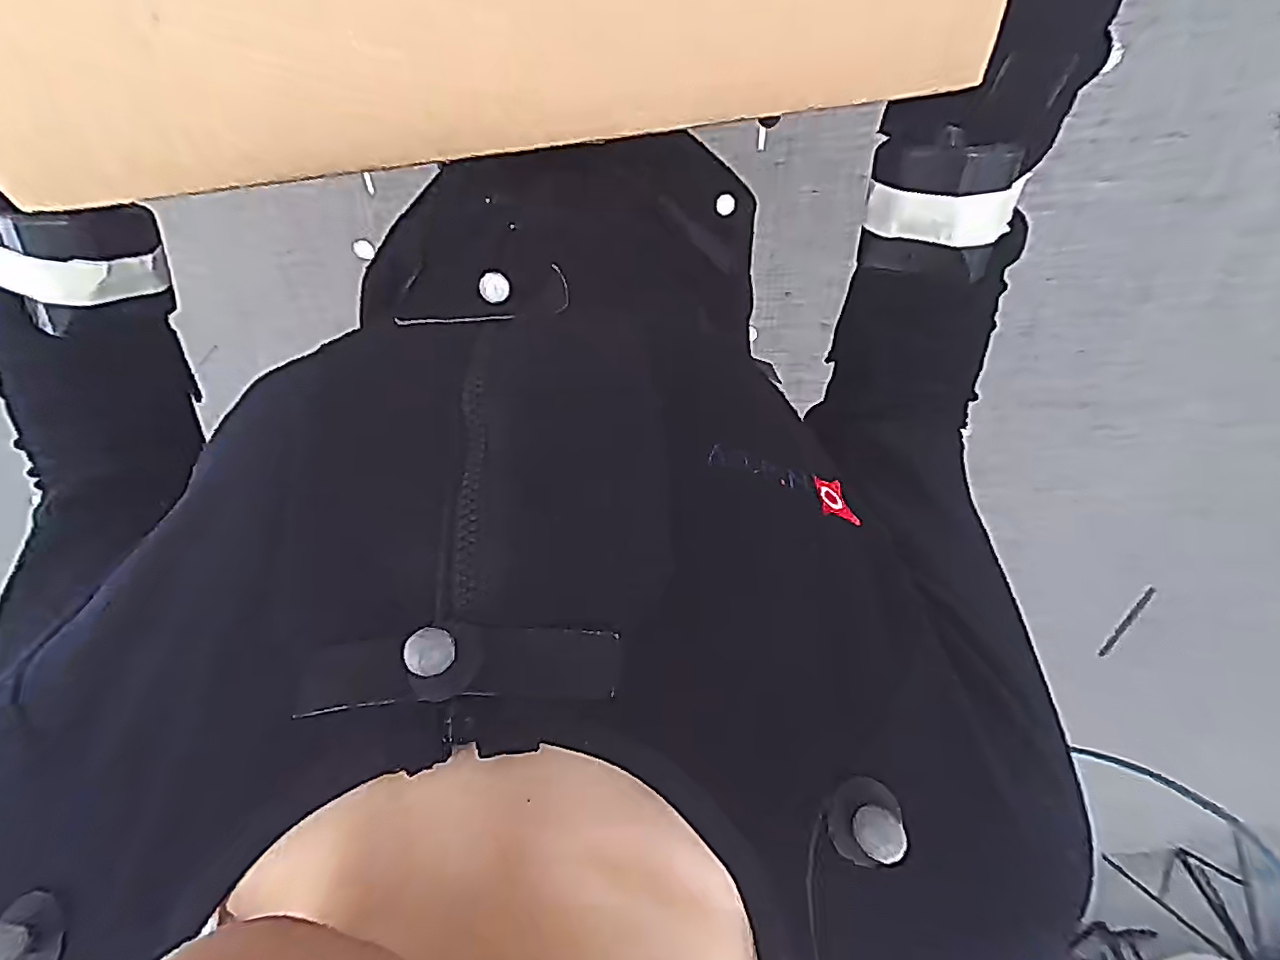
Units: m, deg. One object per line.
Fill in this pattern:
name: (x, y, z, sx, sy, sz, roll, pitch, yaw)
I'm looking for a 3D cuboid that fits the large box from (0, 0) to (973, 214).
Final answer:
large box: (-0.088, -0.357, 0.233, 0.408, 0.320, 0.320, -7, 134, 2)
